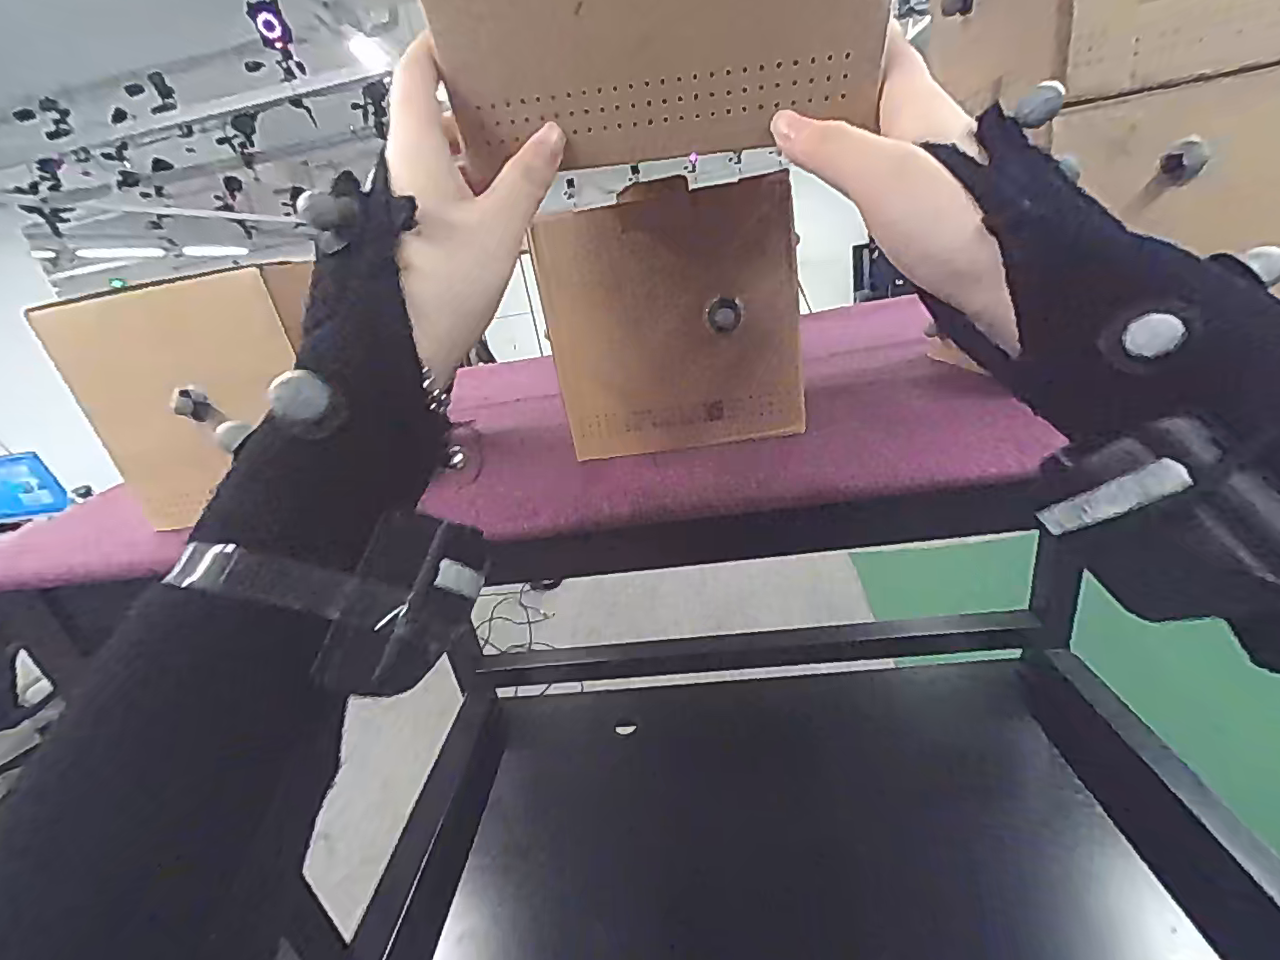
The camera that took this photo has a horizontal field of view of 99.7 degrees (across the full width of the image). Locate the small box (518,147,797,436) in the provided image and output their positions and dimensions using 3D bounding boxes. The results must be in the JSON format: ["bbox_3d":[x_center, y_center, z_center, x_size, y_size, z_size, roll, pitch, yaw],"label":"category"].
[{"bbox_3d":[0.025,-0.137,0.424,0.168,0.176,0.179,-6,23,8],"label":"small box"}]

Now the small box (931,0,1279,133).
[{"bbox_3d":[0.303,-0.336,0.340,0.179,0.176,0.168,-7,21,7],"label":"small box"}]

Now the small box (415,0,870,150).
[{"bbox_3d":[0.001,-0.254,0.226,0.179,0.176,0.168,-2,43,6],"label":"small box"}]

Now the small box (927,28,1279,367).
[{"bbox_3d":[0.332,-0.185,0.392,0.179,0.176,0.168,-8,21,7],"label":"small box"}]
